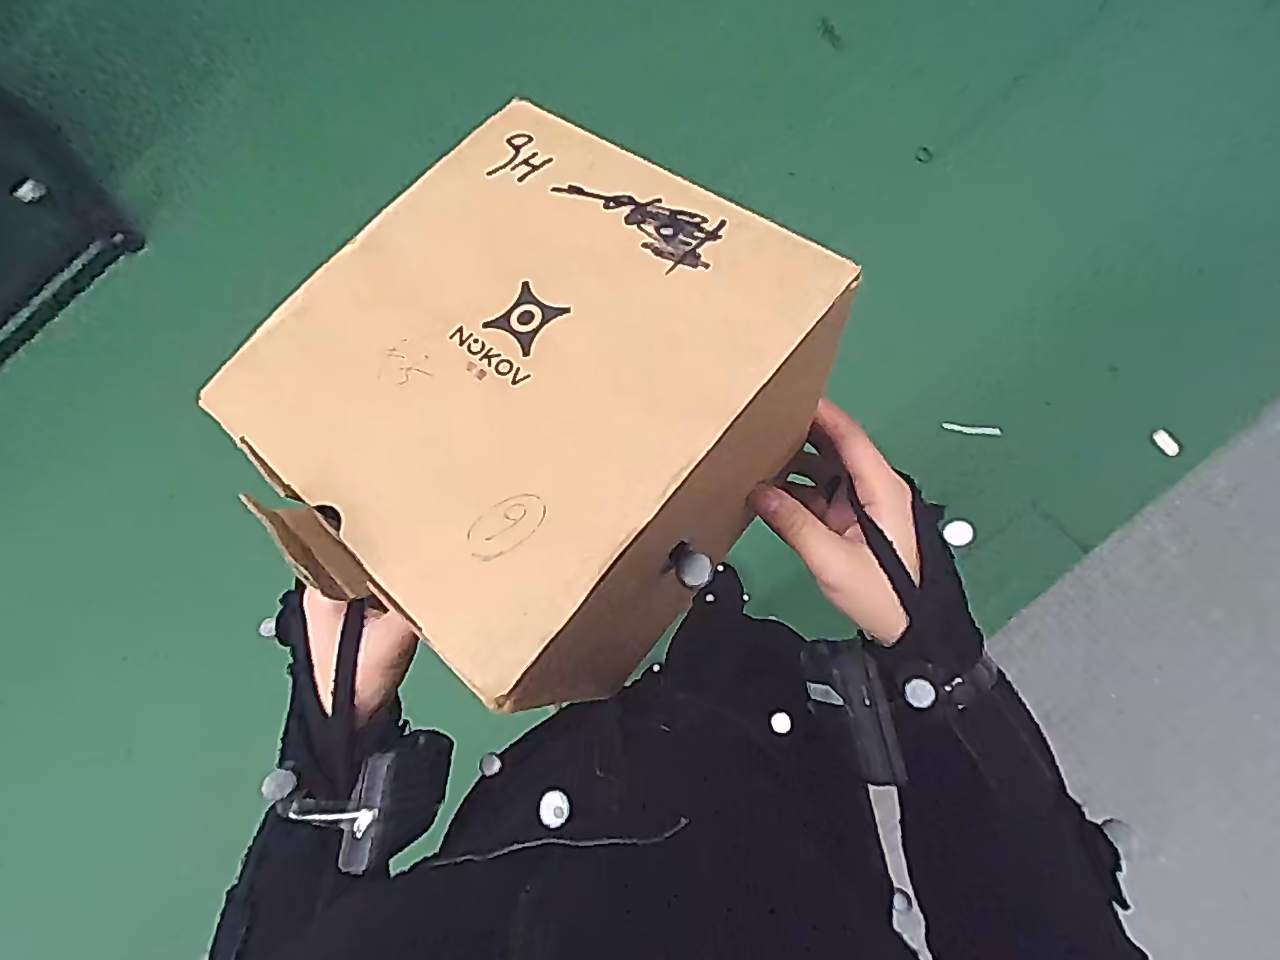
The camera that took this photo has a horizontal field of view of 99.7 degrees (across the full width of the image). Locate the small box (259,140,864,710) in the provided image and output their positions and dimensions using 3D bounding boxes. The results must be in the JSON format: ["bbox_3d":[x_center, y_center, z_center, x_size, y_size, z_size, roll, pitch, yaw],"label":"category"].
[{"bbox_3d":[-0.023,-0.013,0.271,0.168,0.176,0.179,38,80,20],"label":"small box"}]
